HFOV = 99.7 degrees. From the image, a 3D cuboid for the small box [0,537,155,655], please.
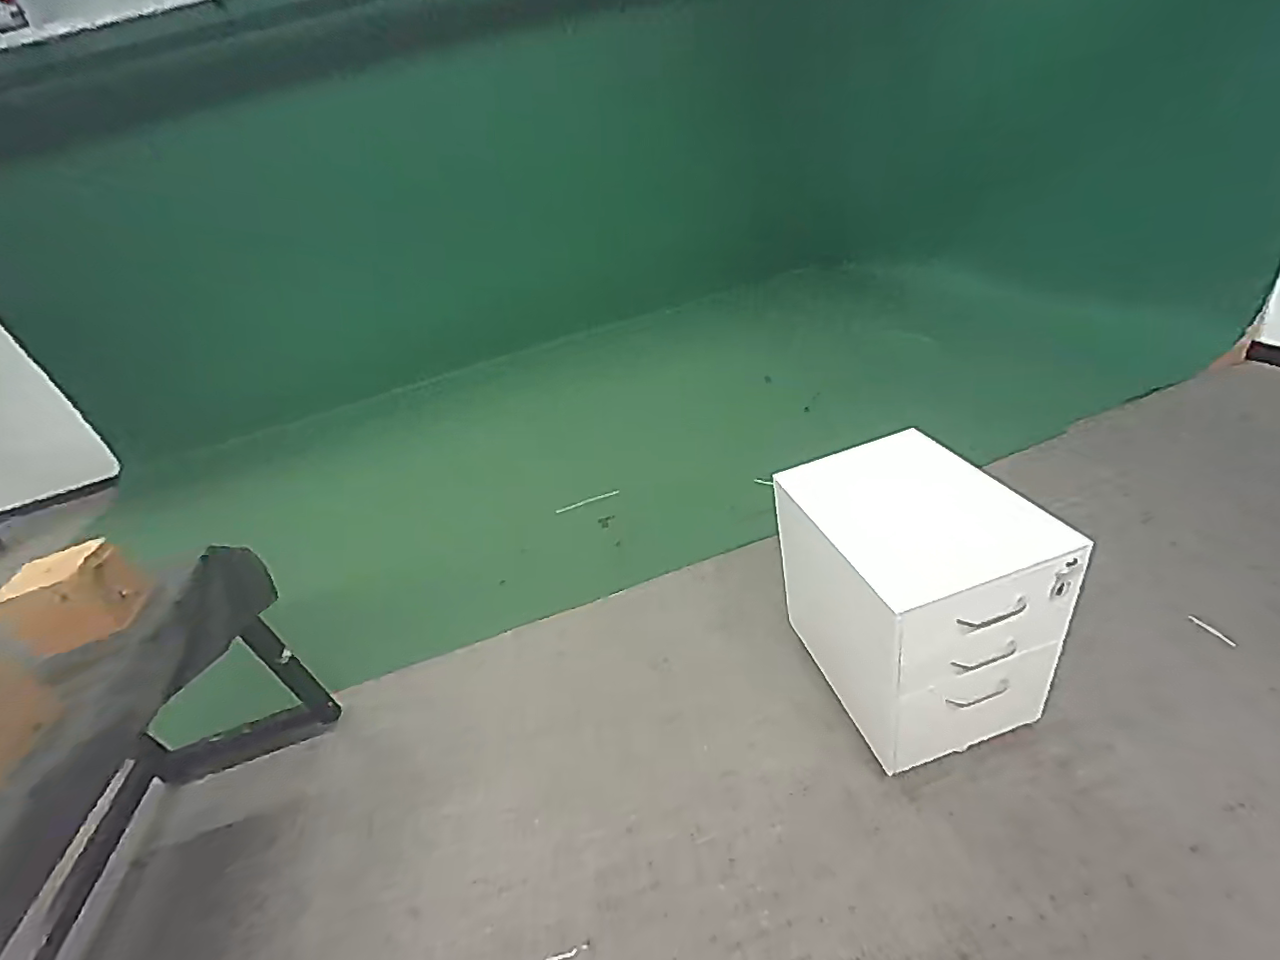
[{"bbox_3d":[-1.288,0.266,1.239,0.179,0.176,0.168,-21,33,-9],"label":"small box"}]
